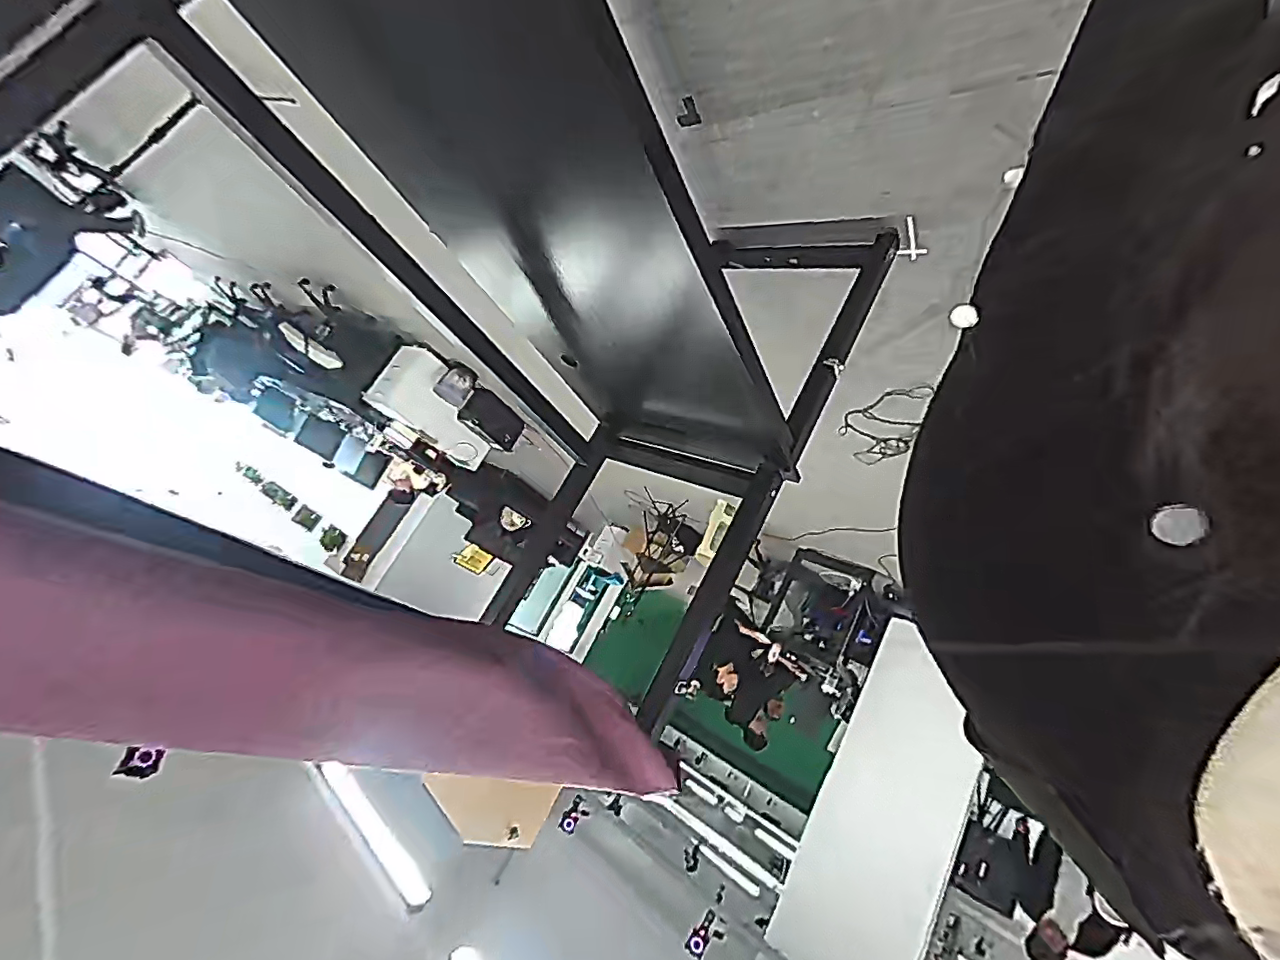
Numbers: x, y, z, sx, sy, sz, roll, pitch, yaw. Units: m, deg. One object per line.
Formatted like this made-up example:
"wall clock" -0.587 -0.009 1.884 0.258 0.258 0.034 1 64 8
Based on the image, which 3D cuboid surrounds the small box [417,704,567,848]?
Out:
"small box" -0.269 0.537 1.003 0.179 0.176 0.168 16 160 45
